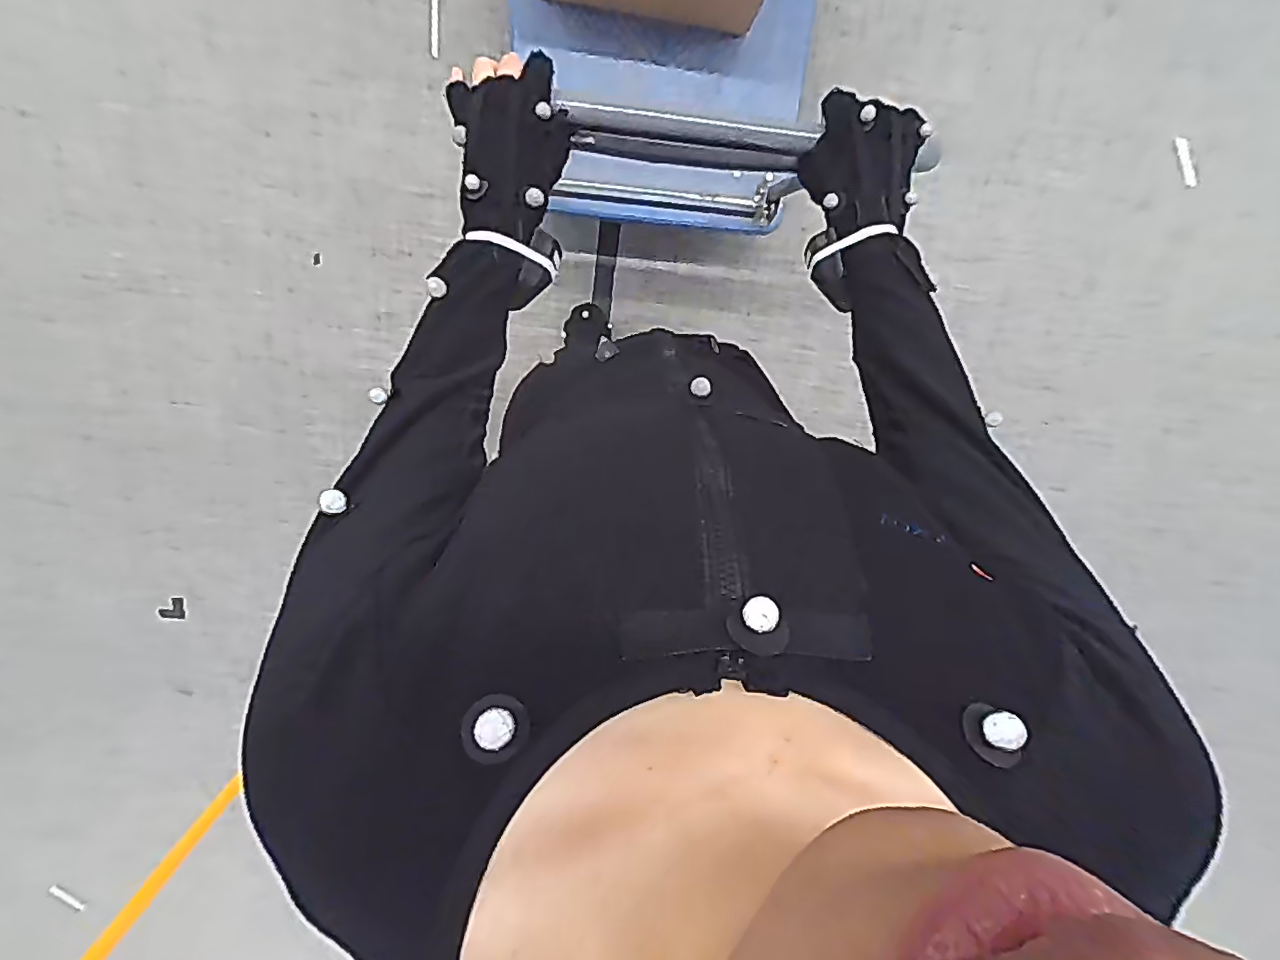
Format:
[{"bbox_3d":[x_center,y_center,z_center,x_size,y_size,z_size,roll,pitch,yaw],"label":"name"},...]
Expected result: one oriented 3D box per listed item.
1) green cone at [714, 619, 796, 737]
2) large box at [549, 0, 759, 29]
[{"bbox_3d":[0.358,0.585,1.540,0.202,0.368,0.200,9,107,-7],"label":"green cone"},{"bbox_3d":[0.030,-0.986,0.854,0.408,0.320,0.320,6,108,-5],"label":"large box"}]
